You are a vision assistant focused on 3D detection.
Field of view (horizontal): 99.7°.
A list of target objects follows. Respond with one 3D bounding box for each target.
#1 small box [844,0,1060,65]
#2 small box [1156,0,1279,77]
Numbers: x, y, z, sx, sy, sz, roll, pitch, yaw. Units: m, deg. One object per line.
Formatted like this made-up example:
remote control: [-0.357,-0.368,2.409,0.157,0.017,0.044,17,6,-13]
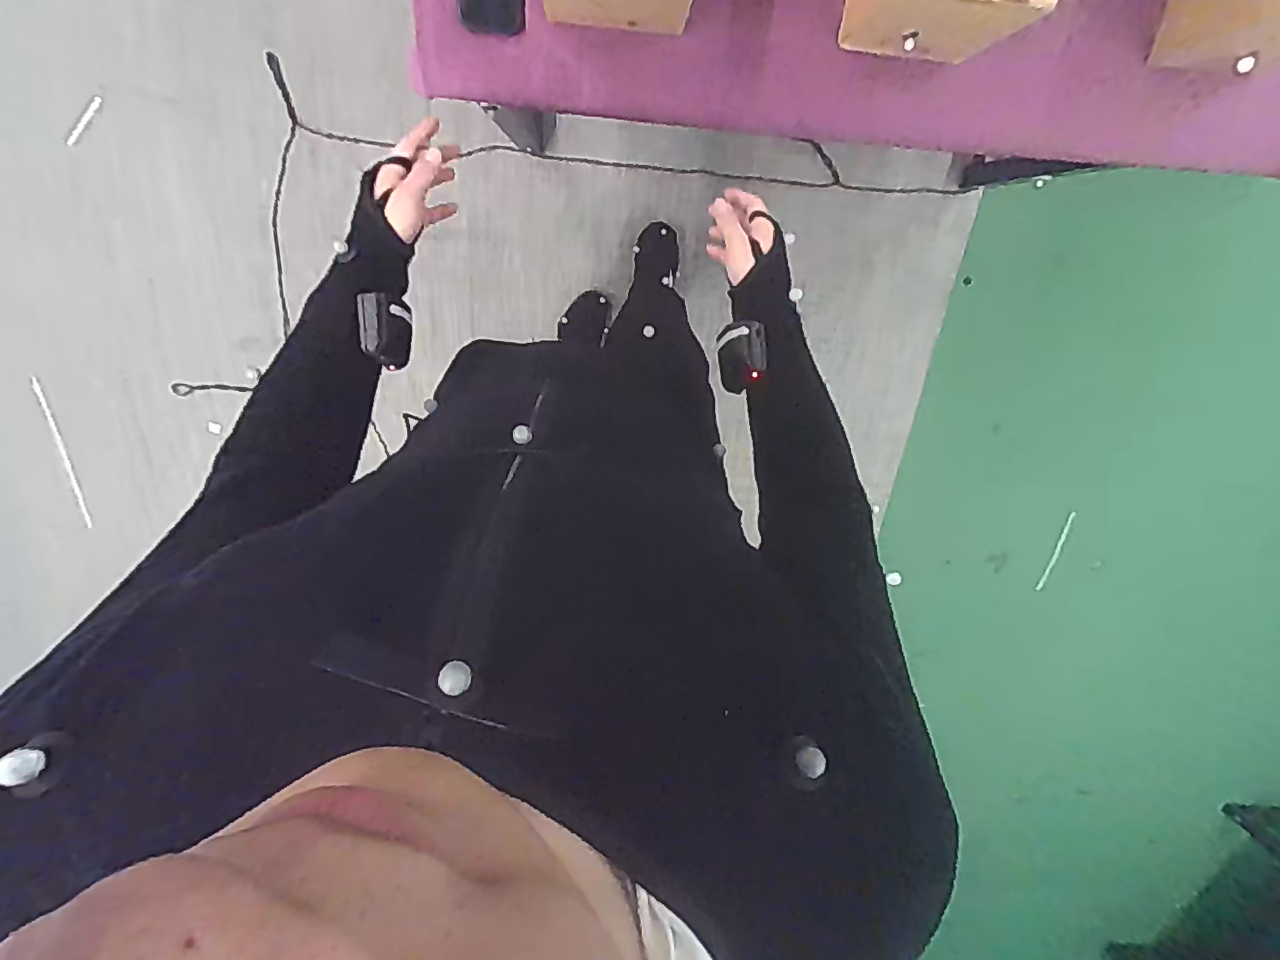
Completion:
small box: [0.343,-0.588,0.581,0.168,0.176,0.179,4,112,-5]
small box: [0.748,-0.586,0.603,0.168,0.176,0.179,2,112,-3]
